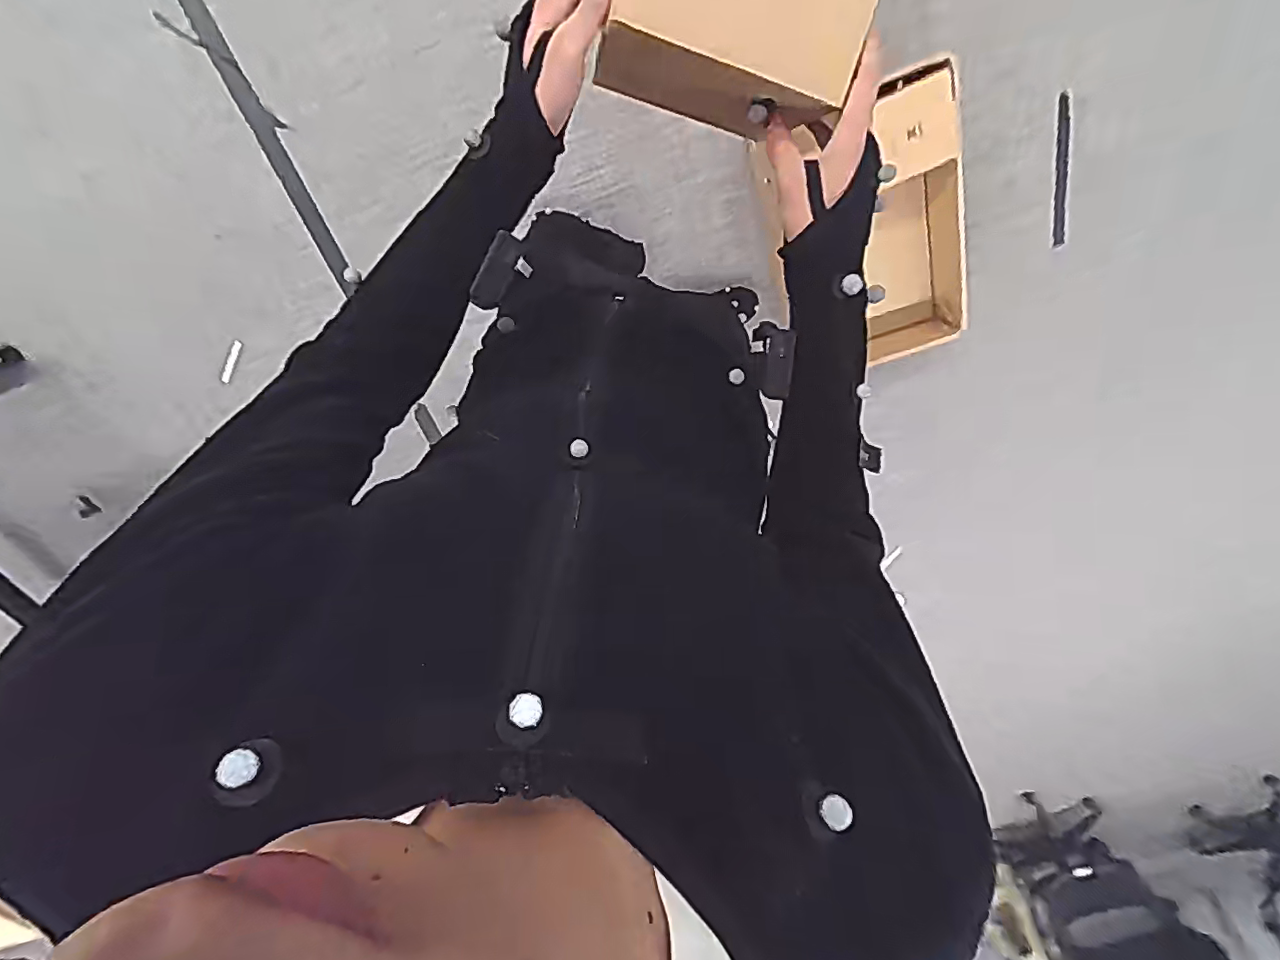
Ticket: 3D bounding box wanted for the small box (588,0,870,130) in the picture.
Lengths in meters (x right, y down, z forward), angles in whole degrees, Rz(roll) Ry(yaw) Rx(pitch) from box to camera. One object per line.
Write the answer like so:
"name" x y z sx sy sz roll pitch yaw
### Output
"small box" 0.065 -0.386 0.405 0.179 0.176 0.168 10 112 -13
